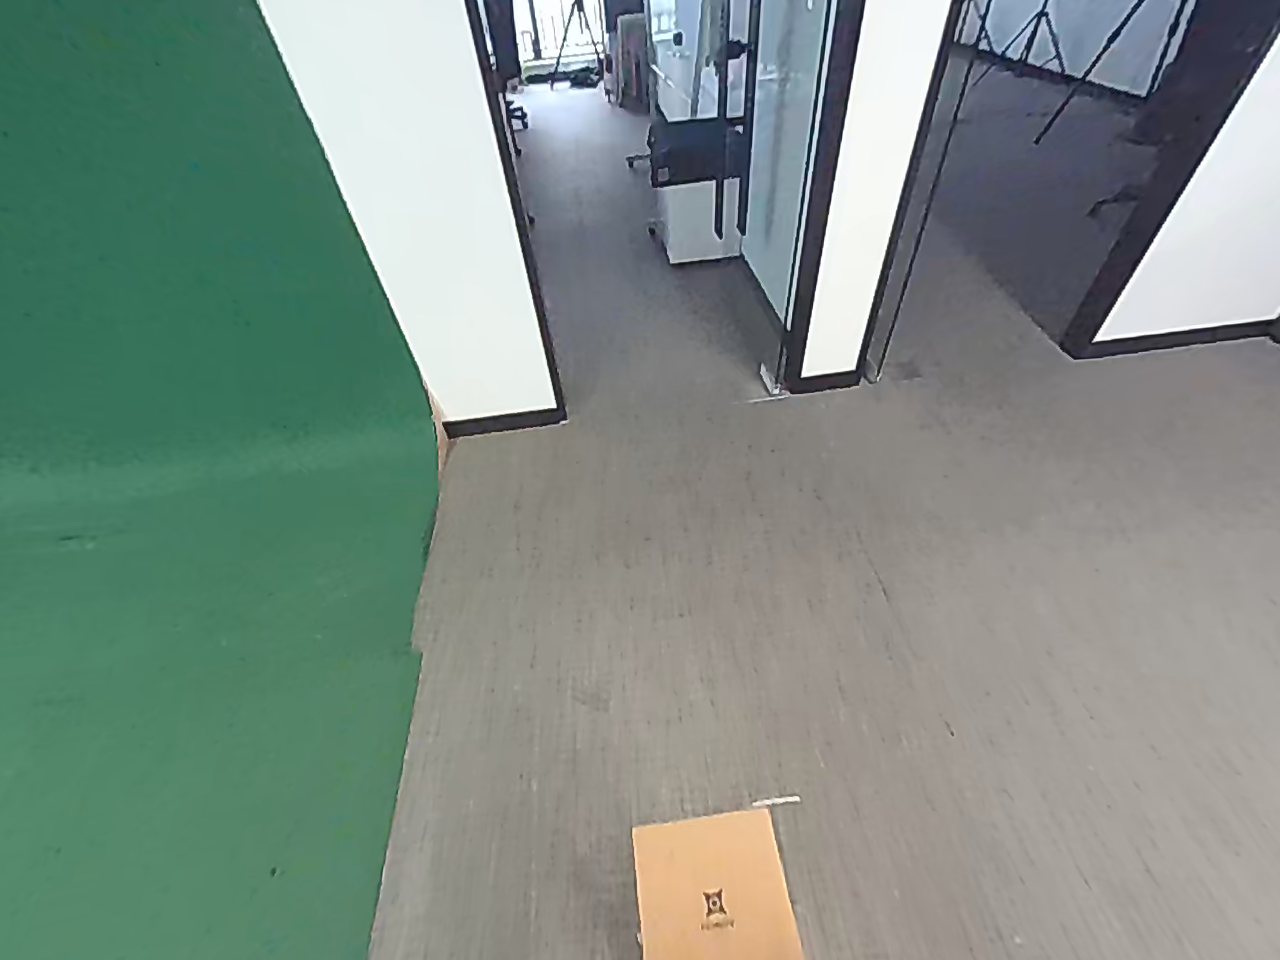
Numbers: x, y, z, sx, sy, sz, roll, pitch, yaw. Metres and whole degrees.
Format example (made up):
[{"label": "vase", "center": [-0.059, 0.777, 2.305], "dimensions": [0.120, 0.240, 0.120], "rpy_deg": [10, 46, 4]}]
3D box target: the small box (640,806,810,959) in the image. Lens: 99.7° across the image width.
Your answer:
[{"label": "small box", "center": [0.093, 0.518, 0.646], "dimensions": [0.168, 0.176, 0.179], "rpy_deg": [-8, 48, -1]}]
